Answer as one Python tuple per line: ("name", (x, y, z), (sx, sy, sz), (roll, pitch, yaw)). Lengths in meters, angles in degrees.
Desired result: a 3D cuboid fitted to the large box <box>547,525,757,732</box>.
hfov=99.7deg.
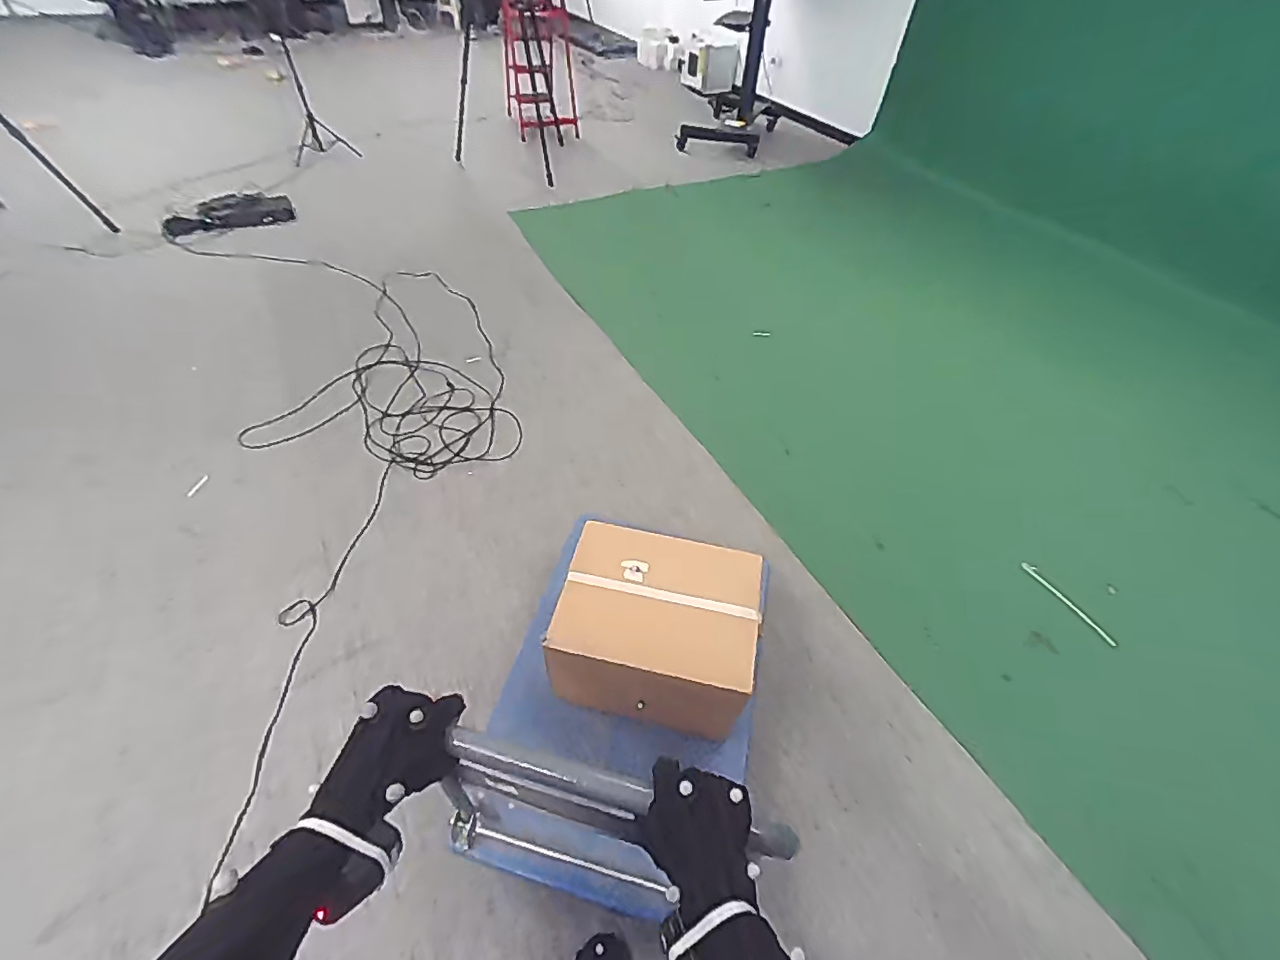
("large box", (0.038, 0.343, 1.238), (0.408, 0.320, 0.320), (10, 49, 7))
